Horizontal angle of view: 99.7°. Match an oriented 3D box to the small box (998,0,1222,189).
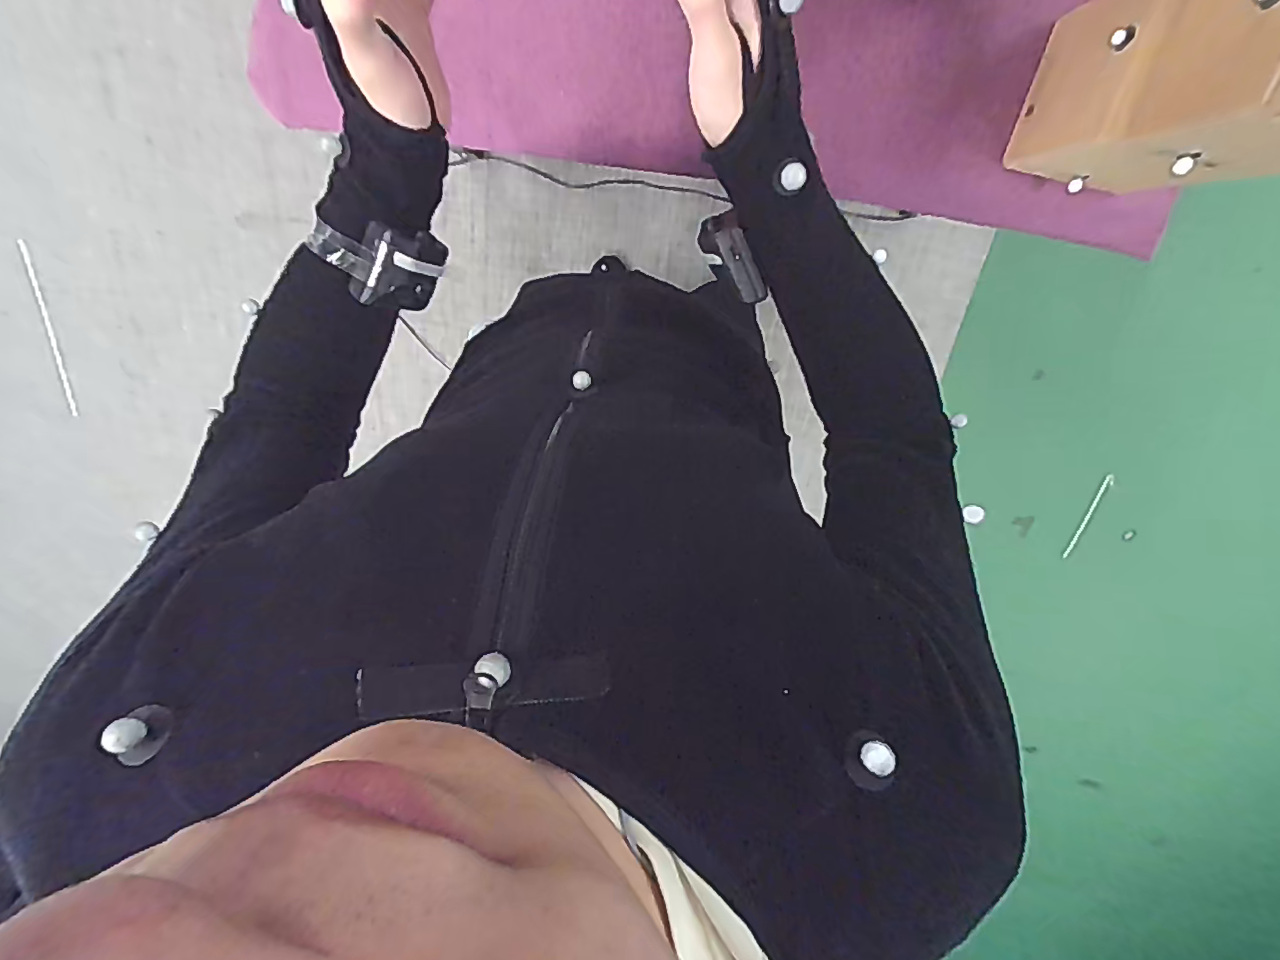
[{"bbox_3d":[0.581,-0.454,0.636,0.179,0.176,0.168,10,112,-5],"label":"small box"}]
